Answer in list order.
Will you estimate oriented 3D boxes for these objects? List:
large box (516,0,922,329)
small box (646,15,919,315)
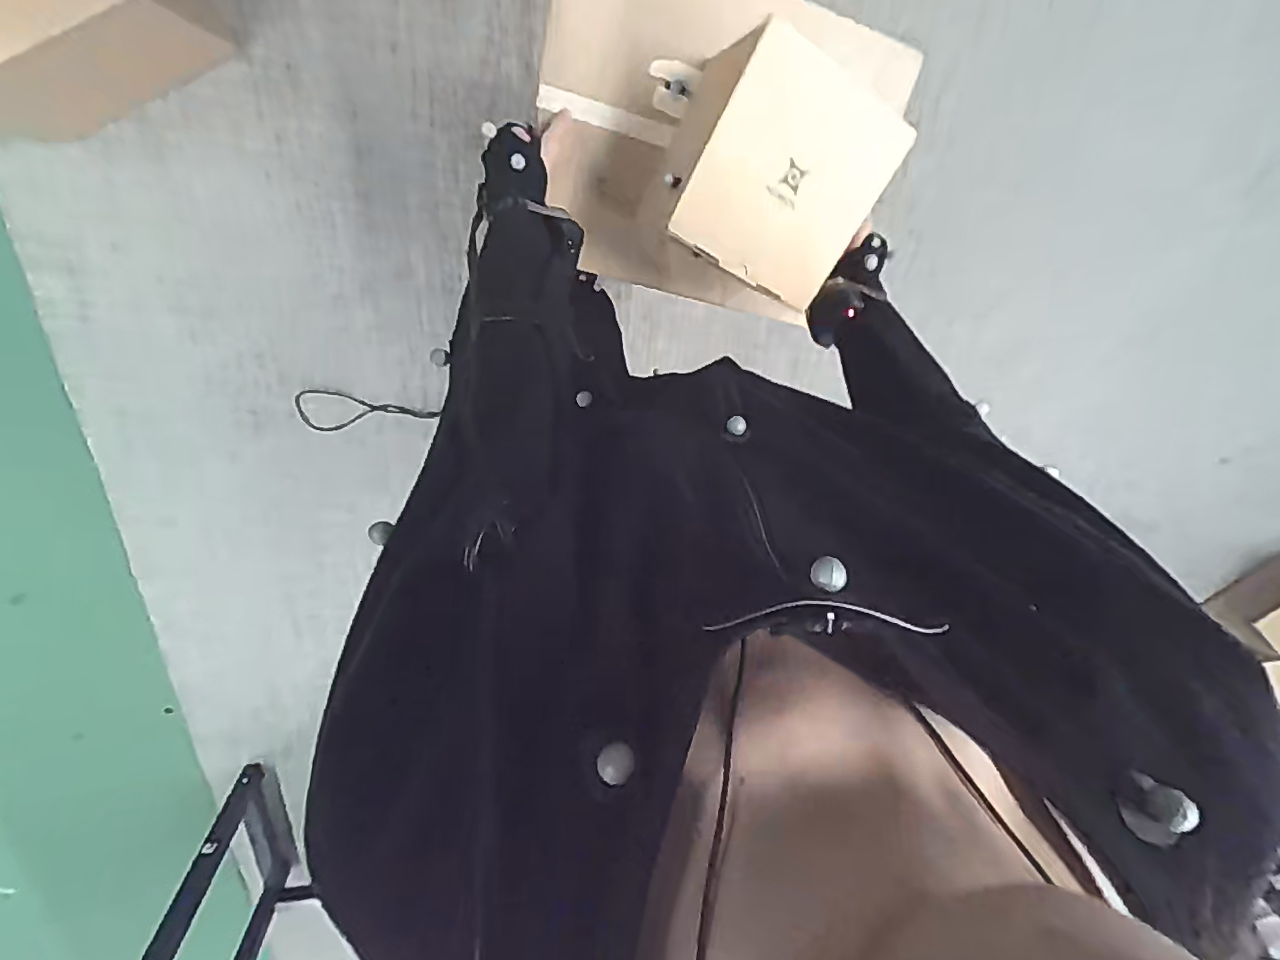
[{"bbox_3d":[0.064,-0.432,0.737,0.408,0.320,0.320,10,115,-14],"label":"large box"},{"bbox_3d":[0.120,-0.298,0.539,0.168,0.176,0.179,22,114,-21],"label":"small box"}]
